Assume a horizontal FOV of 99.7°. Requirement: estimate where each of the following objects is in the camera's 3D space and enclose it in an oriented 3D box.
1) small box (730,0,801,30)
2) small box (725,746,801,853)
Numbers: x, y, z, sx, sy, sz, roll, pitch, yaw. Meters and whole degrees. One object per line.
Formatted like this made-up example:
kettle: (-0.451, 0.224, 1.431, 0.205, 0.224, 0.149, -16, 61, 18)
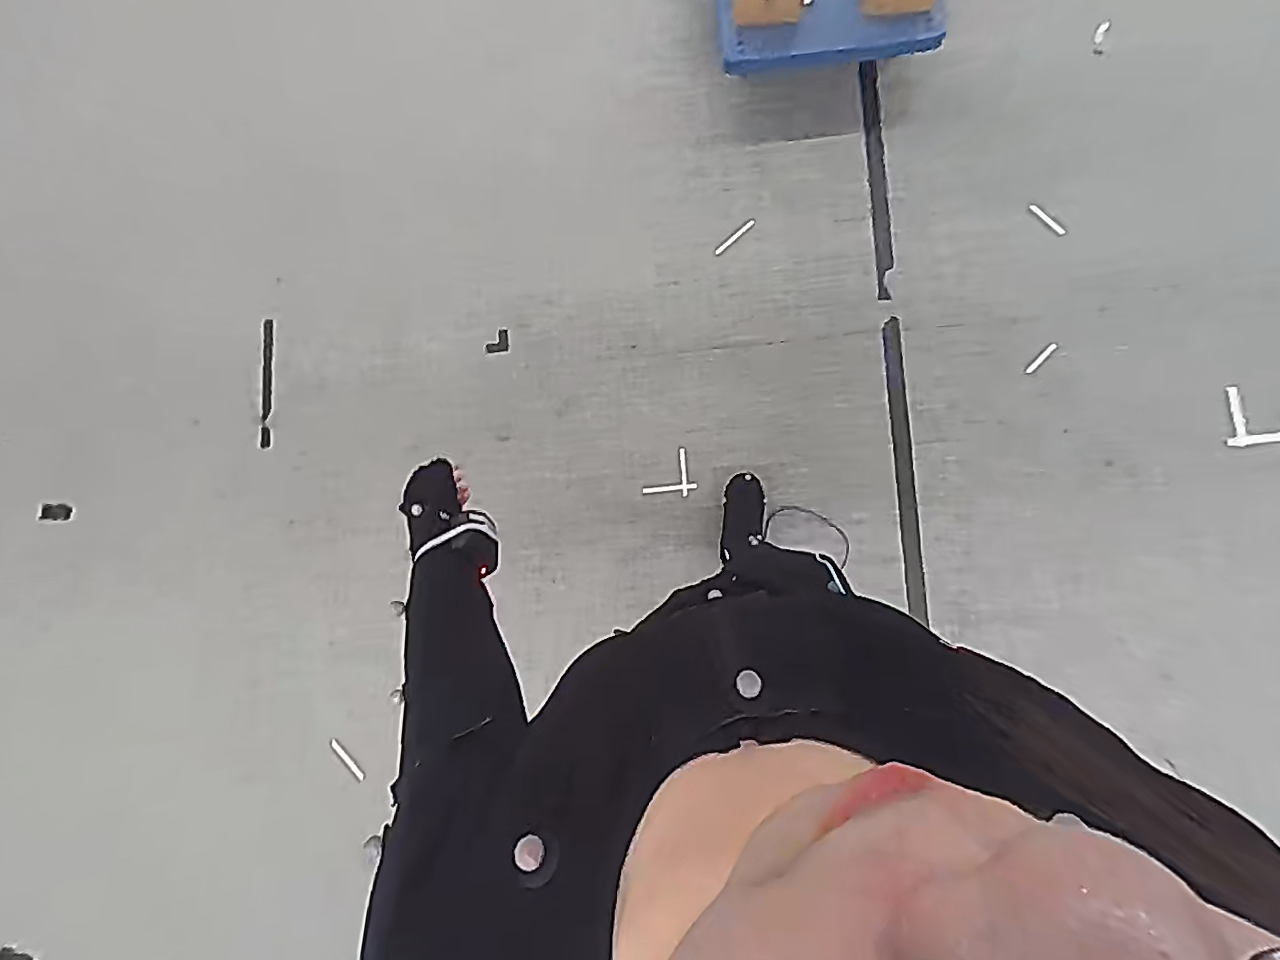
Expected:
small box: (0.319, -1.271, 1.345, 0.179, 0.176, 0.168, 0, 85, 5)
small box: (0.306, 0.796, 1.367, 0.168, 0.176, 0.179, 2, 86, 6)
